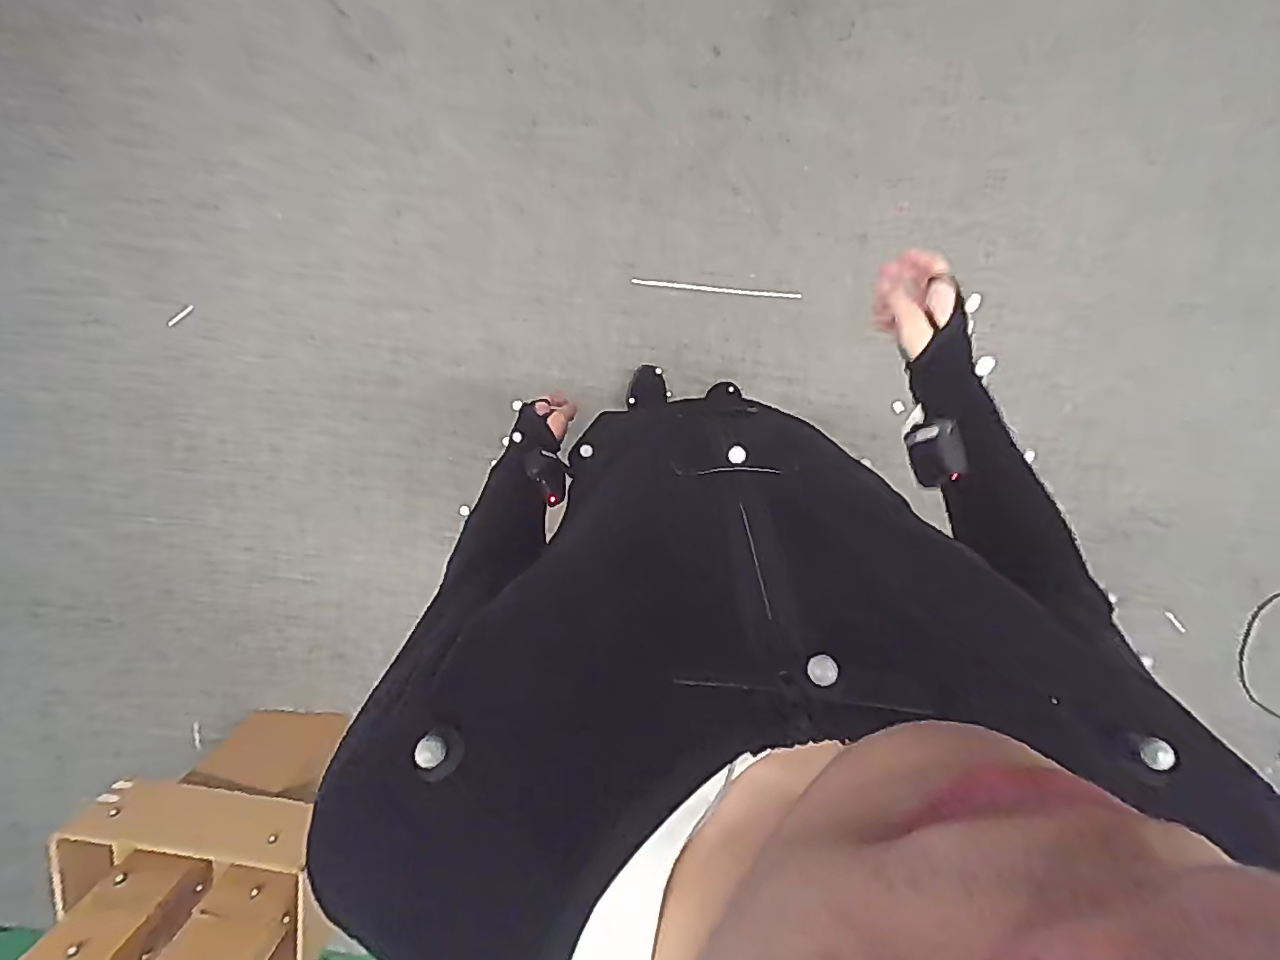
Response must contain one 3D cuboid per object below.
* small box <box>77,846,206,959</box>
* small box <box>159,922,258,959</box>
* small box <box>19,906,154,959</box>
[{"bbox_3d":[-1.255,1.070,1.371,0.179,0.176,0.168,8,102,-1],"label":"small box"},{"bbox_3d":[-1.008,1.150,1.215,0.179,0.176,0.168,19,100,-2],"label":"small box"},{"bbox_3d":[-1.252,1.103,1.213,0.179,0.176,0.168,7,101,-3],"label":"small box"}]
